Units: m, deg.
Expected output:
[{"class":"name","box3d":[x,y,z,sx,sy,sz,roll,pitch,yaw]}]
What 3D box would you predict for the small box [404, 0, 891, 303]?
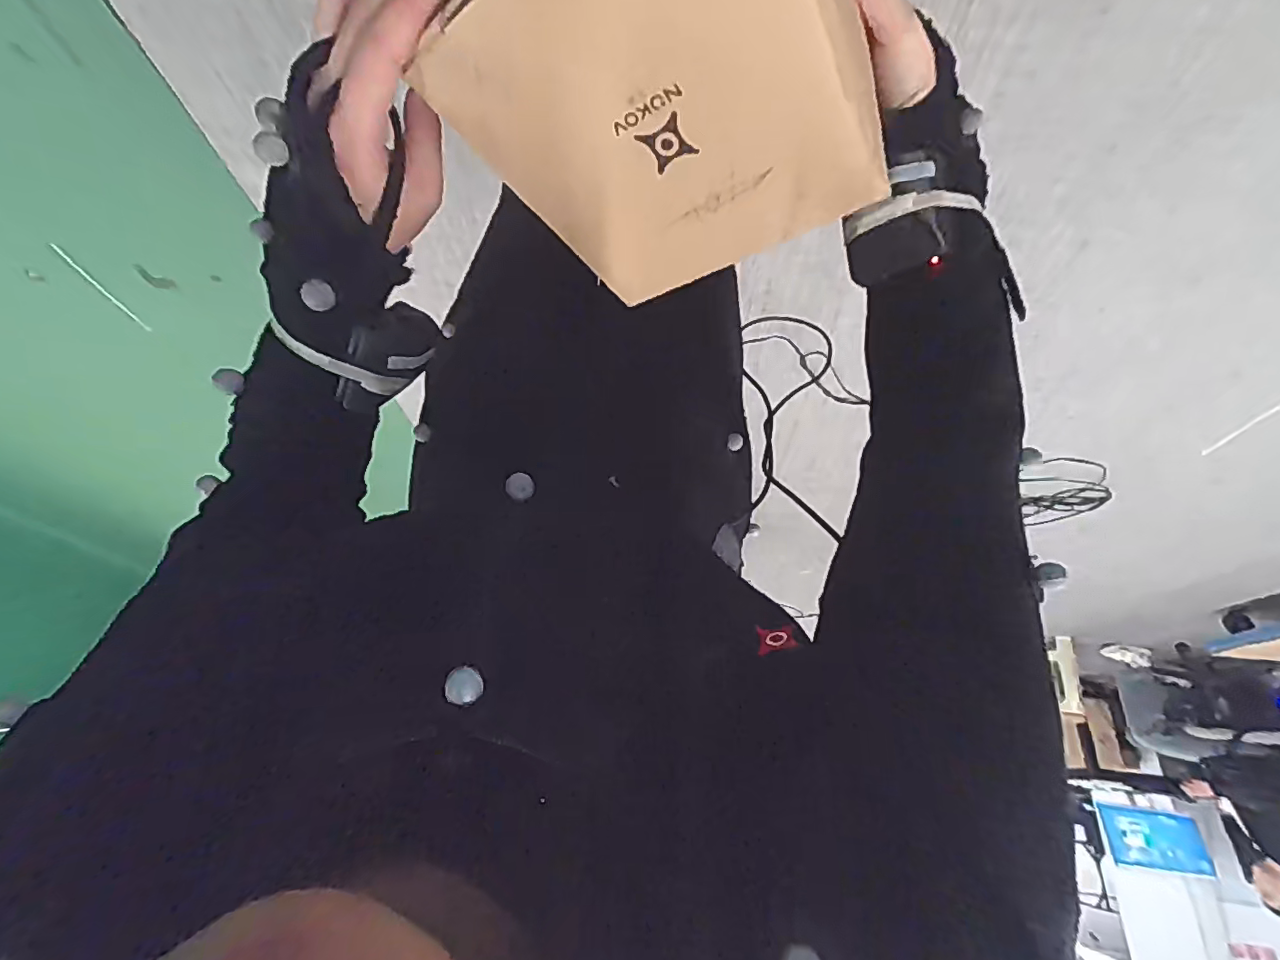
[{"class":"small box","box3d":[0.018,-0.233,0.280,0.168,0.176,0.179,-10,154,33]}]
